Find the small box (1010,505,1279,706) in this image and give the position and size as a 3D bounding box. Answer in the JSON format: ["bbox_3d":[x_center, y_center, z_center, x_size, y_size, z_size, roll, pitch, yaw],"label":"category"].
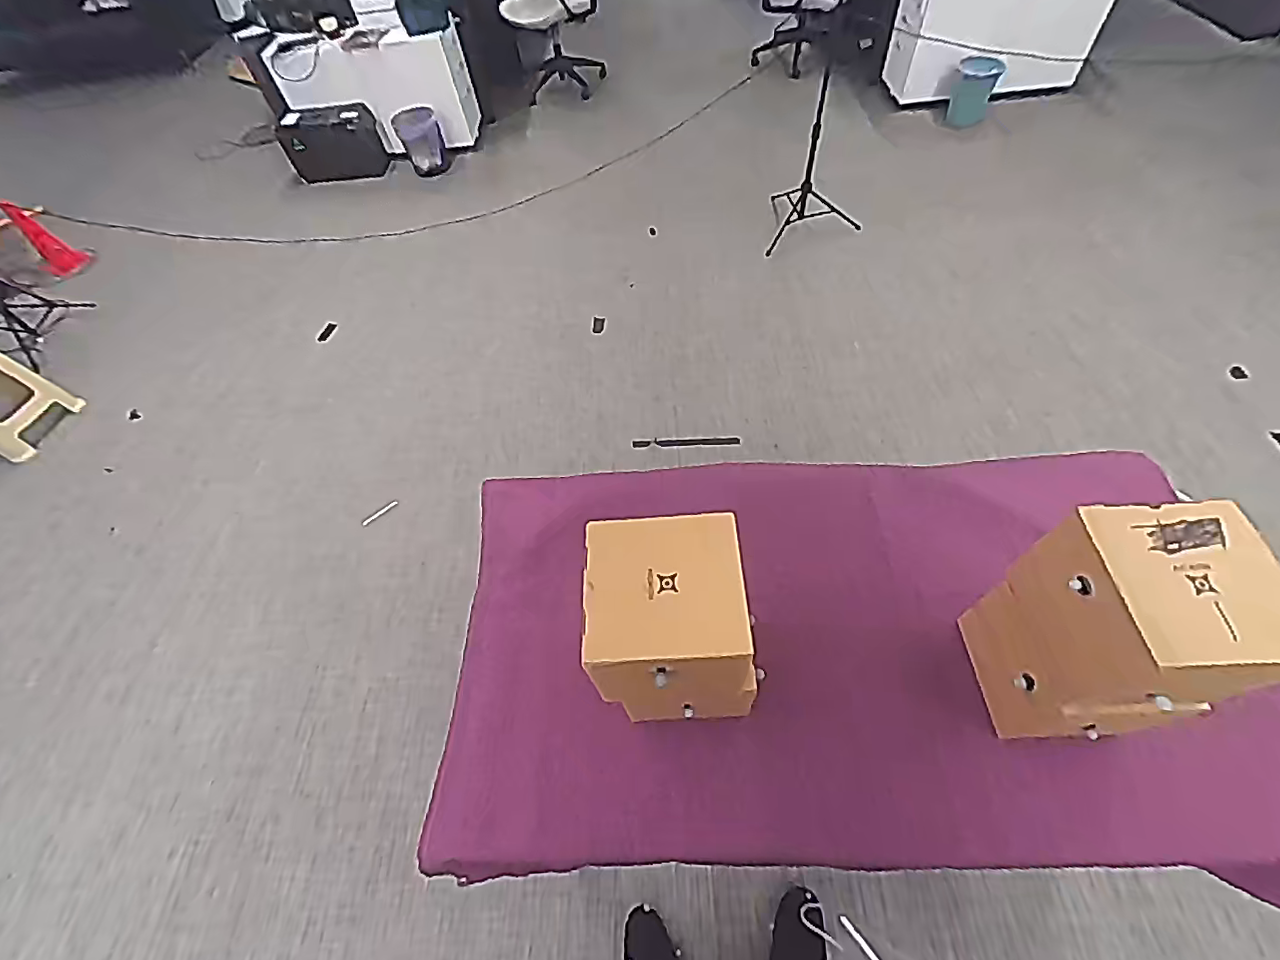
[{"bbox_3d":[0.565,0.146,0.612,0.168,0.176,0.179,-3,56,4],"label":"small box"}]

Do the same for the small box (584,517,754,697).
[{"bbox_3d":[0.035,0.159,0.657,0.179,0.176,0.168,-5,56,4],"label":"small box"}]

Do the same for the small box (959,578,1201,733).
[{"bbox_3d":[0.577,0.245,0.743,0.168,0.176,0.179,-3,56,3],"label":"small box"}]
